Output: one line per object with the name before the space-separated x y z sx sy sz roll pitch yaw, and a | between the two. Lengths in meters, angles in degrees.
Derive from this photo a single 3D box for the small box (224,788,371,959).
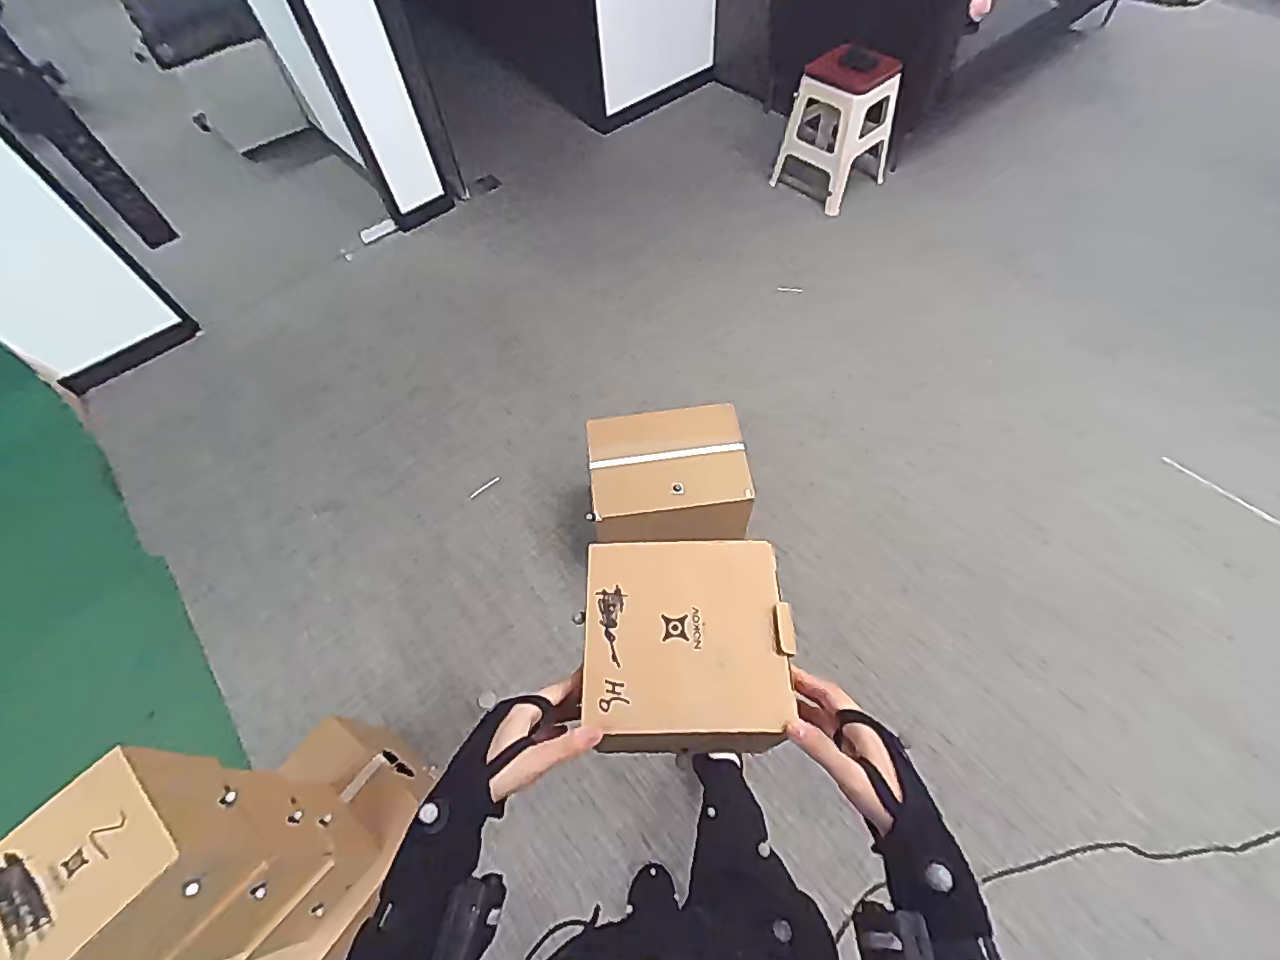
small box | -0.587 0.635 0.894 0.179 0.176 0.168 36 65 22

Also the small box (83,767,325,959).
small box | -0.595 0.543 0.760 0.168 0.176 0.179 37 66 22

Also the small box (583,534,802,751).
small box | 0.041 0.164 0.531 0.179 0.176 0.168 0 57 0

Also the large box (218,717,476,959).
large box | -0.617 0.768 1.102 0.320 0.320 0.408 30 65 20
